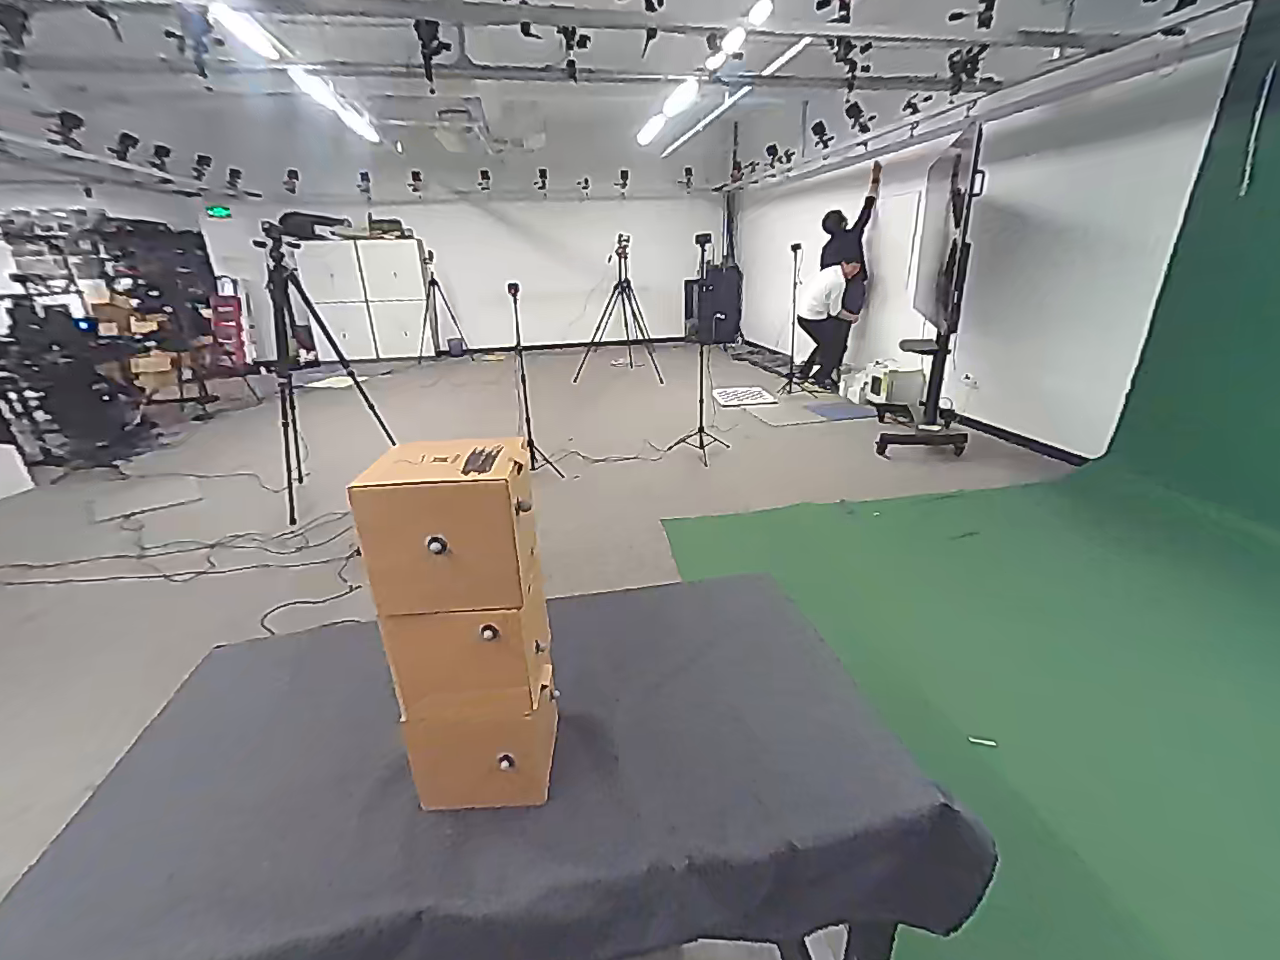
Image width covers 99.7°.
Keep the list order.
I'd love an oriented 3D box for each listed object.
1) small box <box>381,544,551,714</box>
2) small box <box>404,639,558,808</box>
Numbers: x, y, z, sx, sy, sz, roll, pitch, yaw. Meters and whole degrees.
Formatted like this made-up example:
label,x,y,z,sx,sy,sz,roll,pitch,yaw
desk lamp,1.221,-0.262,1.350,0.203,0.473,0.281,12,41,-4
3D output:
label,x,y,z,sx,sy,sz,roll,pitch,yaw
small box,-0.226,0.203,0.751,0.179,0.176,0.168,-2,21,-1
small box,-0.220,0.356,0.807,0.179,0.176,0.168,-3,21,-1
